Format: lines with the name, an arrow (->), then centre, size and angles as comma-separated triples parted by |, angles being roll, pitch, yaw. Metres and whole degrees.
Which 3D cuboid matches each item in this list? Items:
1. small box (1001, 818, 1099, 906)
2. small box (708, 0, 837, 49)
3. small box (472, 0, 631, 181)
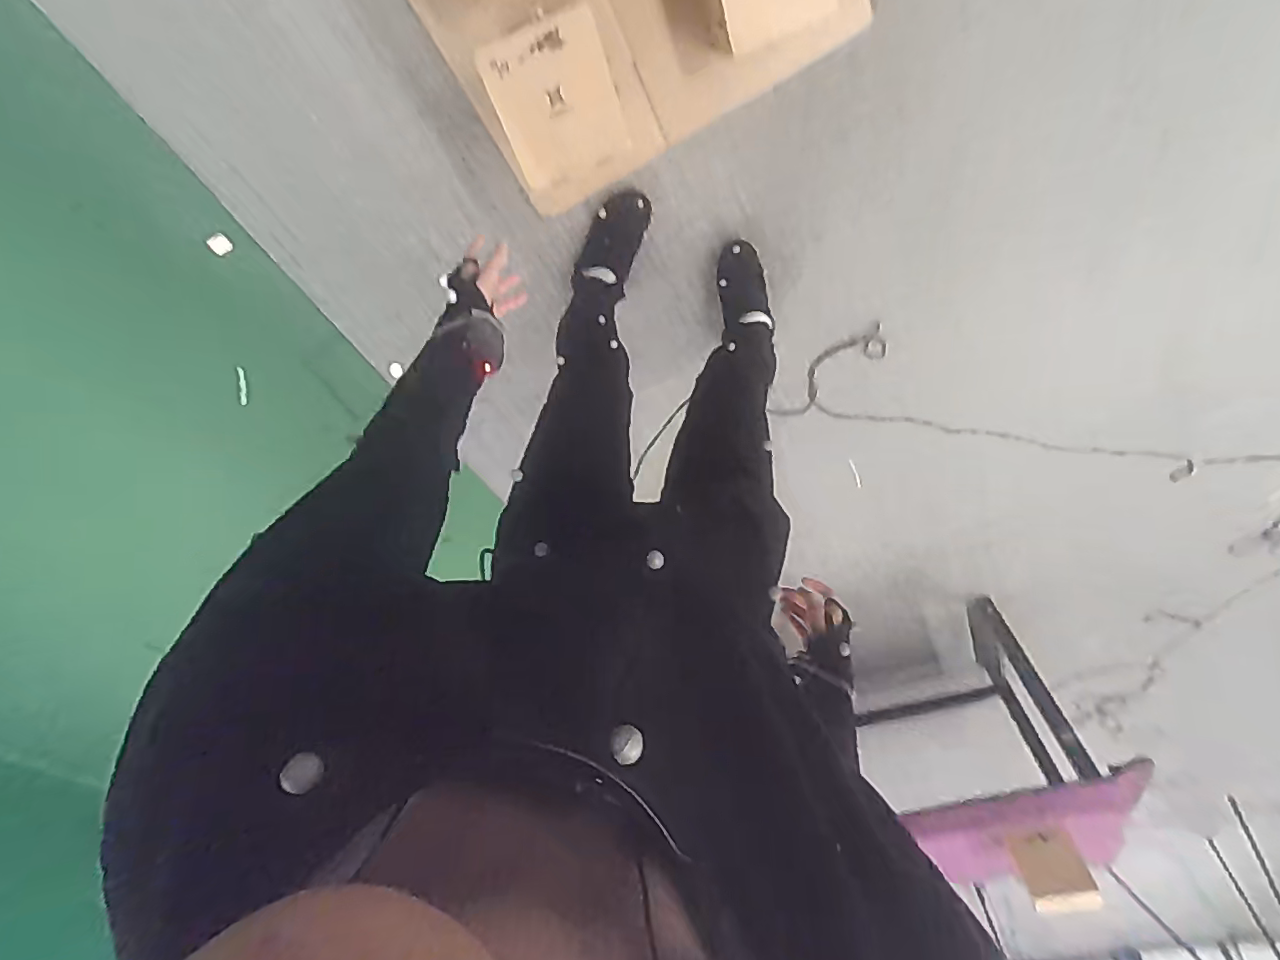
small box -> 1.173, 1.097, 1.554 | 0.168, 0.176, 0.179 | -23, 127, 17
small box -> 0.189, -0.801, 0.826 | 0.168, 0.176, 0.179 | -17, 129, 11
small box -> -0.117, -0.577, 0.795 | 0.168, 0.176, 0.179 | -16, 129, 10
